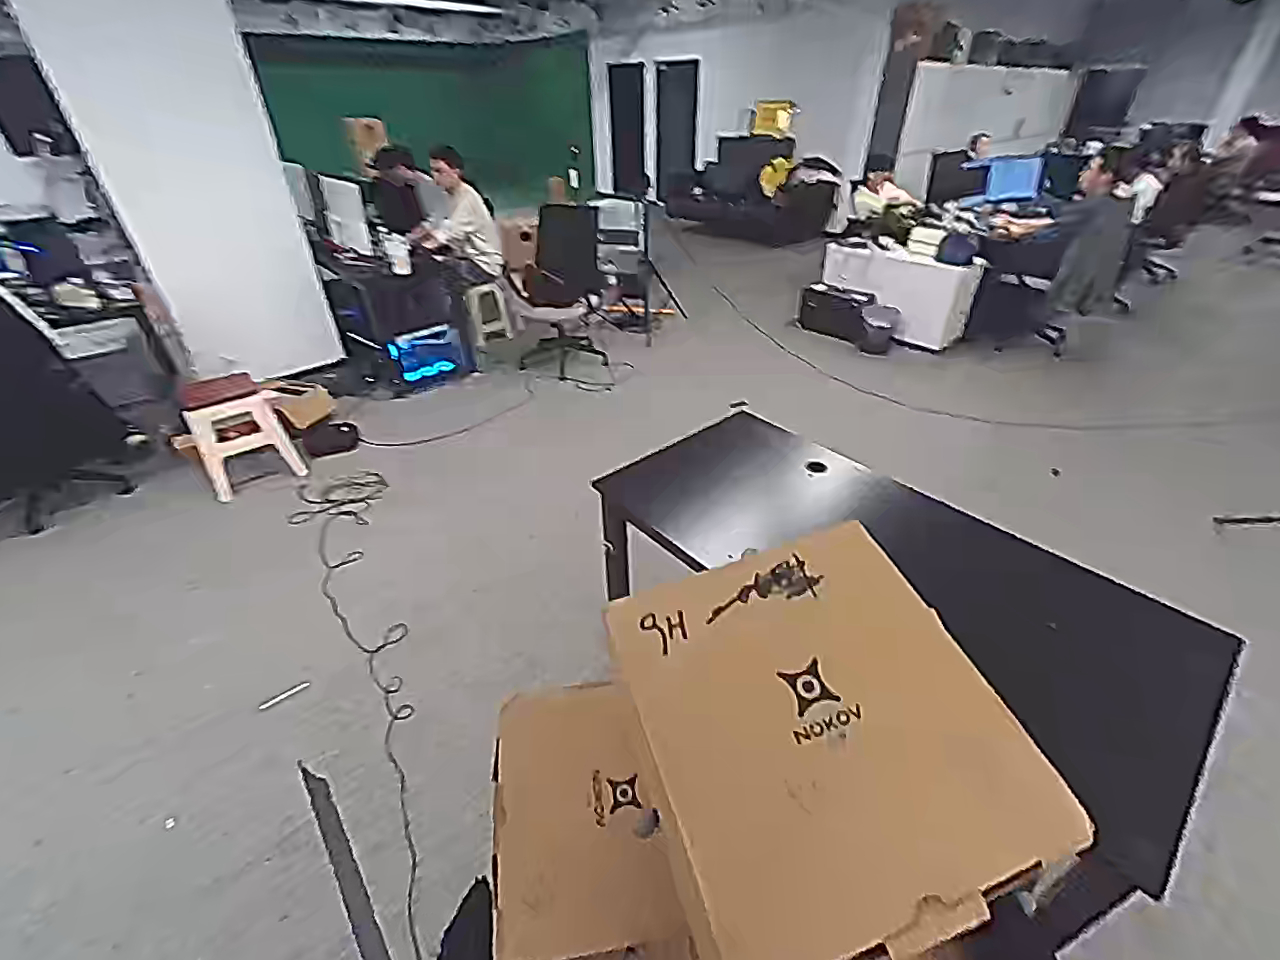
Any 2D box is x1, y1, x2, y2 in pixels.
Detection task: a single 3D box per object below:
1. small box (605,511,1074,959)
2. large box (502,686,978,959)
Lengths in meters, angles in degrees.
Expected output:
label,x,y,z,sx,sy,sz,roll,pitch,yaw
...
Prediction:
label,x,y,z,sx,sy,sz,roll,pitch,yaw
small box,0.086,0.153,0.328,0.168,0.176,0.179,-16,52,-11
large box,0.070,0.436,0.622,0.408,0.320,0.320,-6,50,-5
